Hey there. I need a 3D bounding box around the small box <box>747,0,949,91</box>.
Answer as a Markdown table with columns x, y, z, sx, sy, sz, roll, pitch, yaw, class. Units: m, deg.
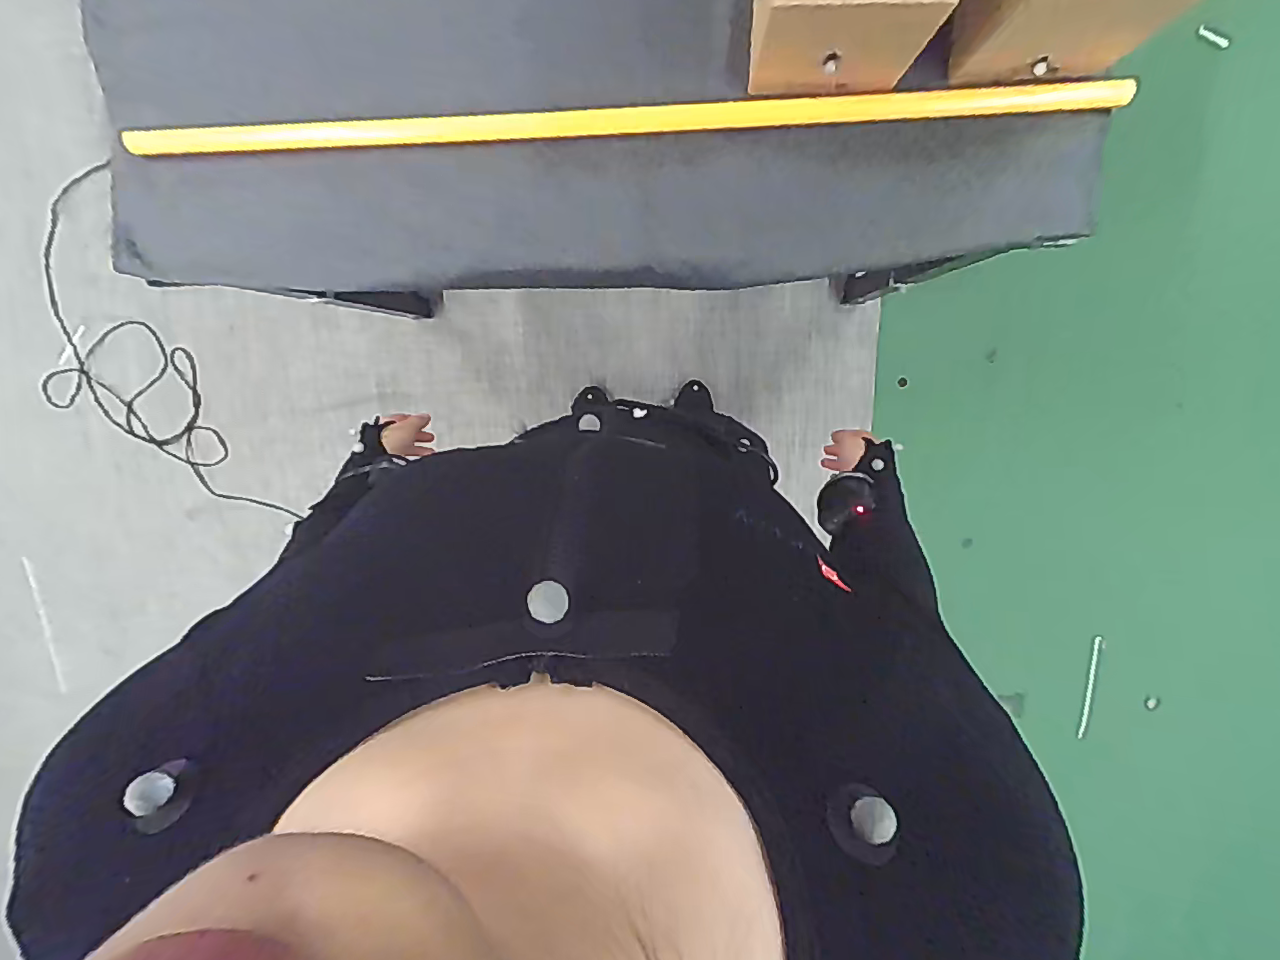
| x | y | z | sx | sy | sz | roll | pitch | yaw | class |
| --- | --- | --- | --- | --- | --- | --- | --- | --- | --- |
| 0.202 | -0.522 | 0.541 | 0.168 | 0.176 | 0.179 | 2 | 102 | 3 | small box |
